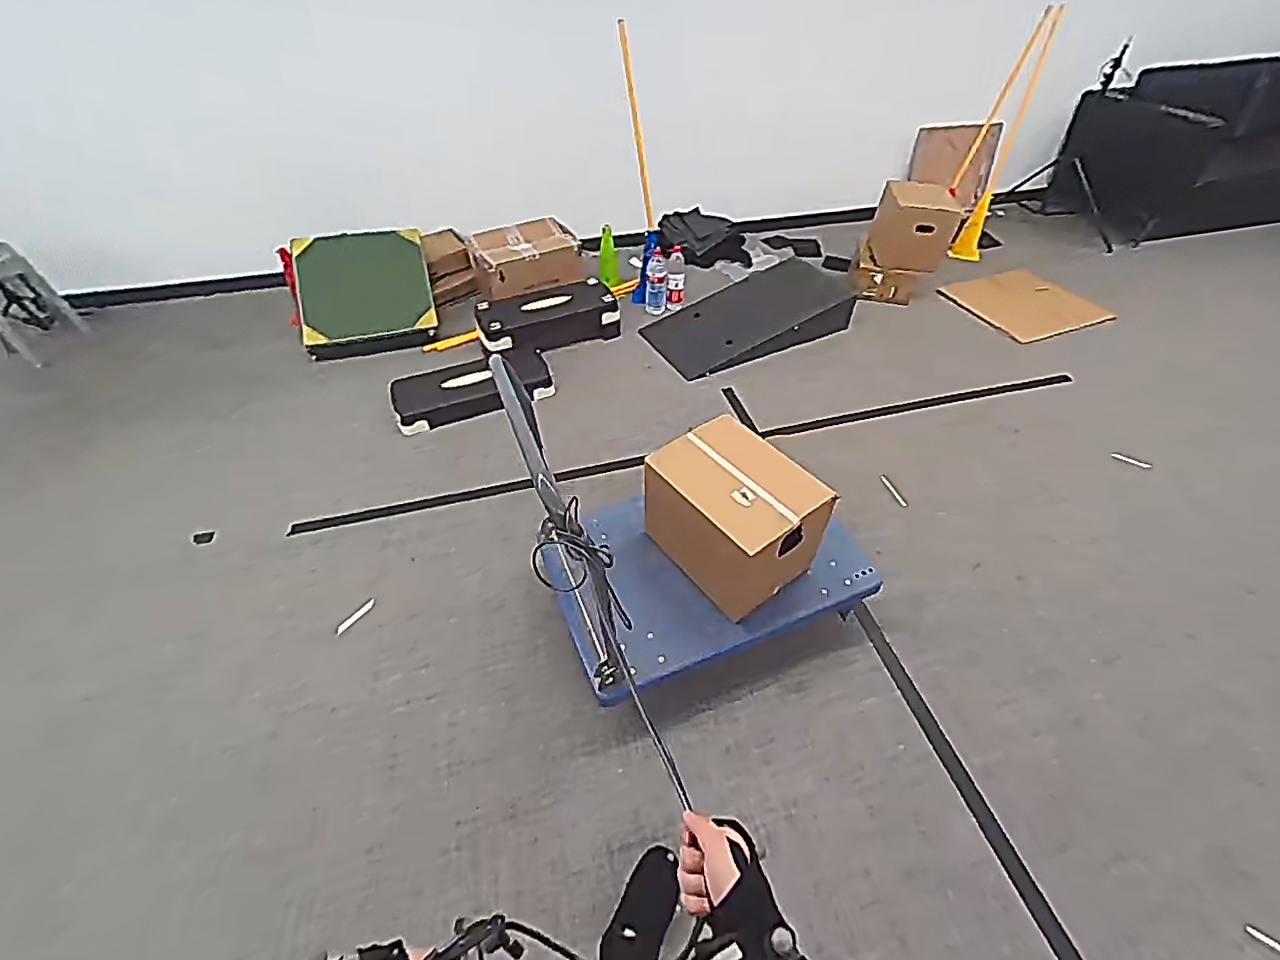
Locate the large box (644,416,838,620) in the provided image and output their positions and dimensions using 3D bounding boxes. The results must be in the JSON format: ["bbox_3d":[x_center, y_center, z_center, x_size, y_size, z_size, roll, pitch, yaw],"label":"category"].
[{"bbox_3d":[0.251,0.095,1.493,0.320,0.320,0.408,-30,54,-24],"label":"large box"}]
